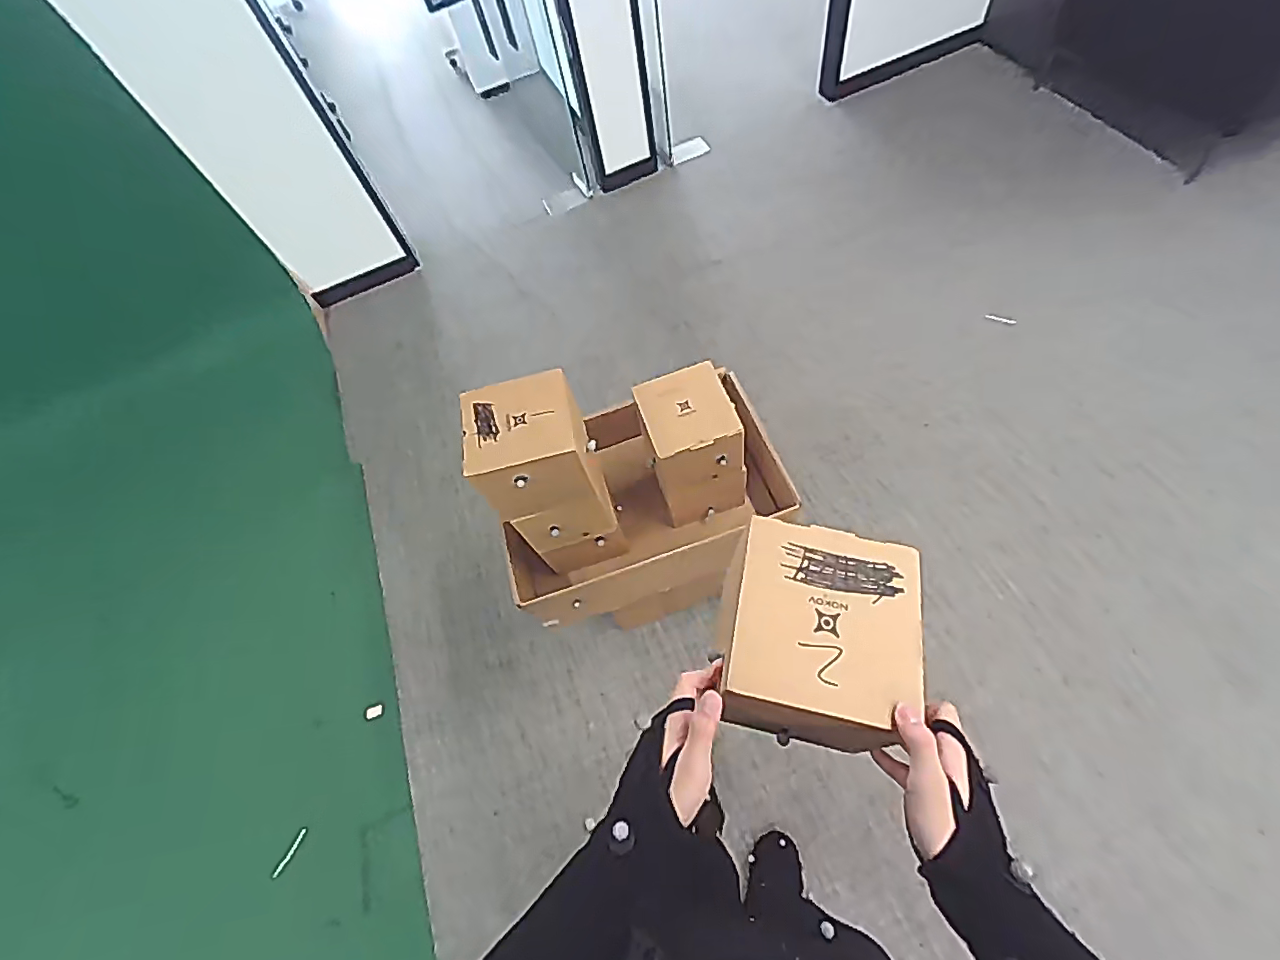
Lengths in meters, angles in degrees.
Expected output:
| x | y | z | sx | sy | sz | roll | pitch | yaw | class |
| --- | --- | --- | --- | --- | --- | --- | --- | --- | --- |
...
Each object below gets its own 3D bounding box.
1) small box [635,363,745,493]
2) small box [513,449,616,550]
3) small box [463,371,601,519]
| x | y | z | sx | sy | sz | roll | pitch | yaw | class |
| --- | --- | --- | --- | --- | --- | --- | --- | --- | --- |
| 0.101 | -0.092 | 1.071 | 0.168 | 0.176 | 0.179 | -19 | 61 | -1 | small box |
| -0.153 | 0.022 | 1.056 | 0.168 | 0.176 | 0.179 | -17 | 60 | 0 | small box |
| -0.178 | -0.051 | 0.911 | 0.179 | 0.176 | 0.168 | -14 | 61 | 2 | small box |
